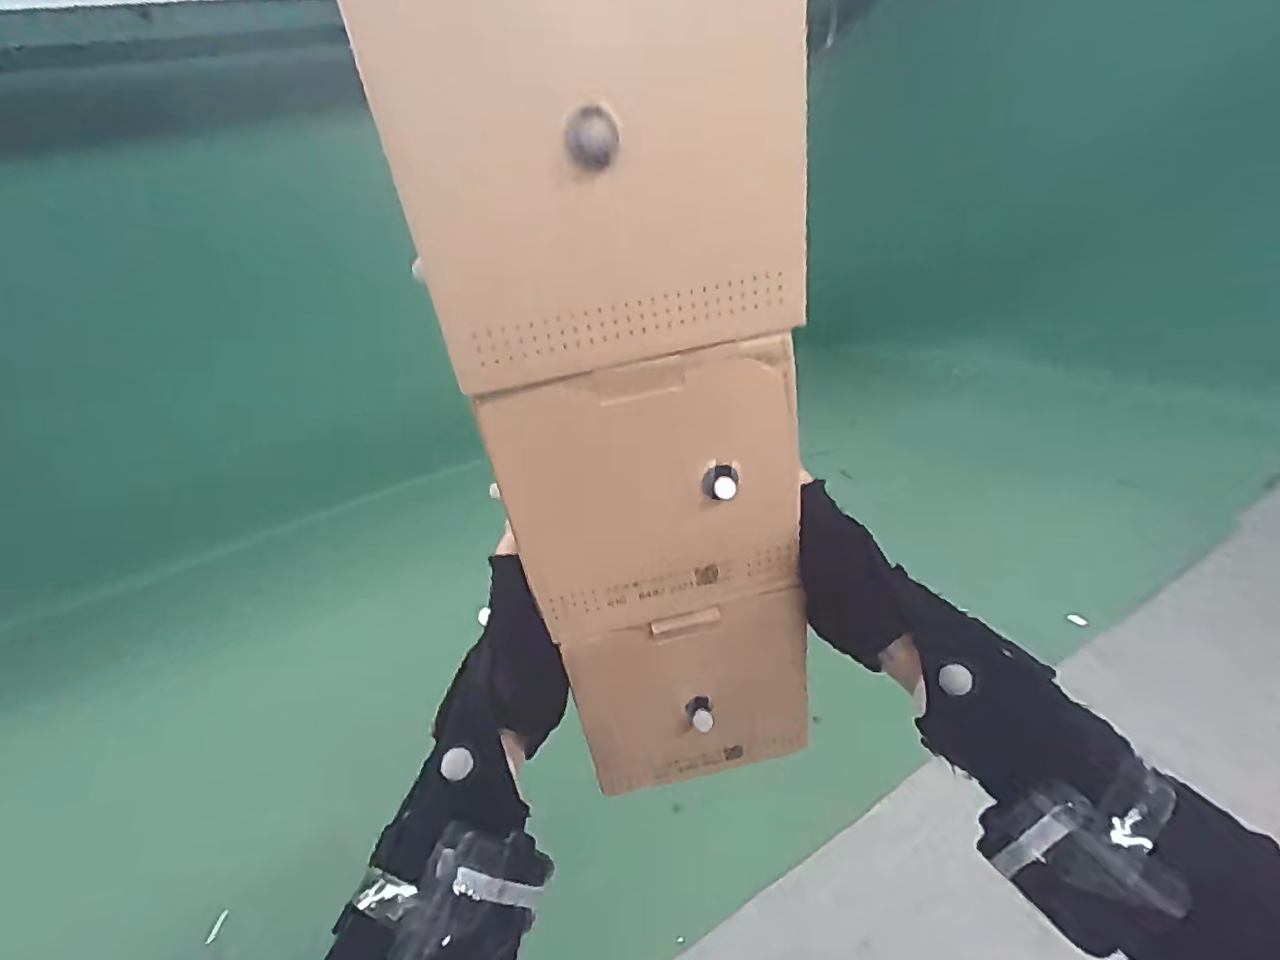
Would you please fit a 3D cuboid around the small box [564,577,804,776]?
[{"bbox_3d":[0.033,0.123,0.463,0.168,0.176,0.179,-11,29,-2],"label":"small box"}]

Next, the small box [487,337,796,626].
[{"bbox_3d":[0.003,-0.016,0.385,0.168,0.176,0.179,-11,27,-4],"label":"small box"}]
